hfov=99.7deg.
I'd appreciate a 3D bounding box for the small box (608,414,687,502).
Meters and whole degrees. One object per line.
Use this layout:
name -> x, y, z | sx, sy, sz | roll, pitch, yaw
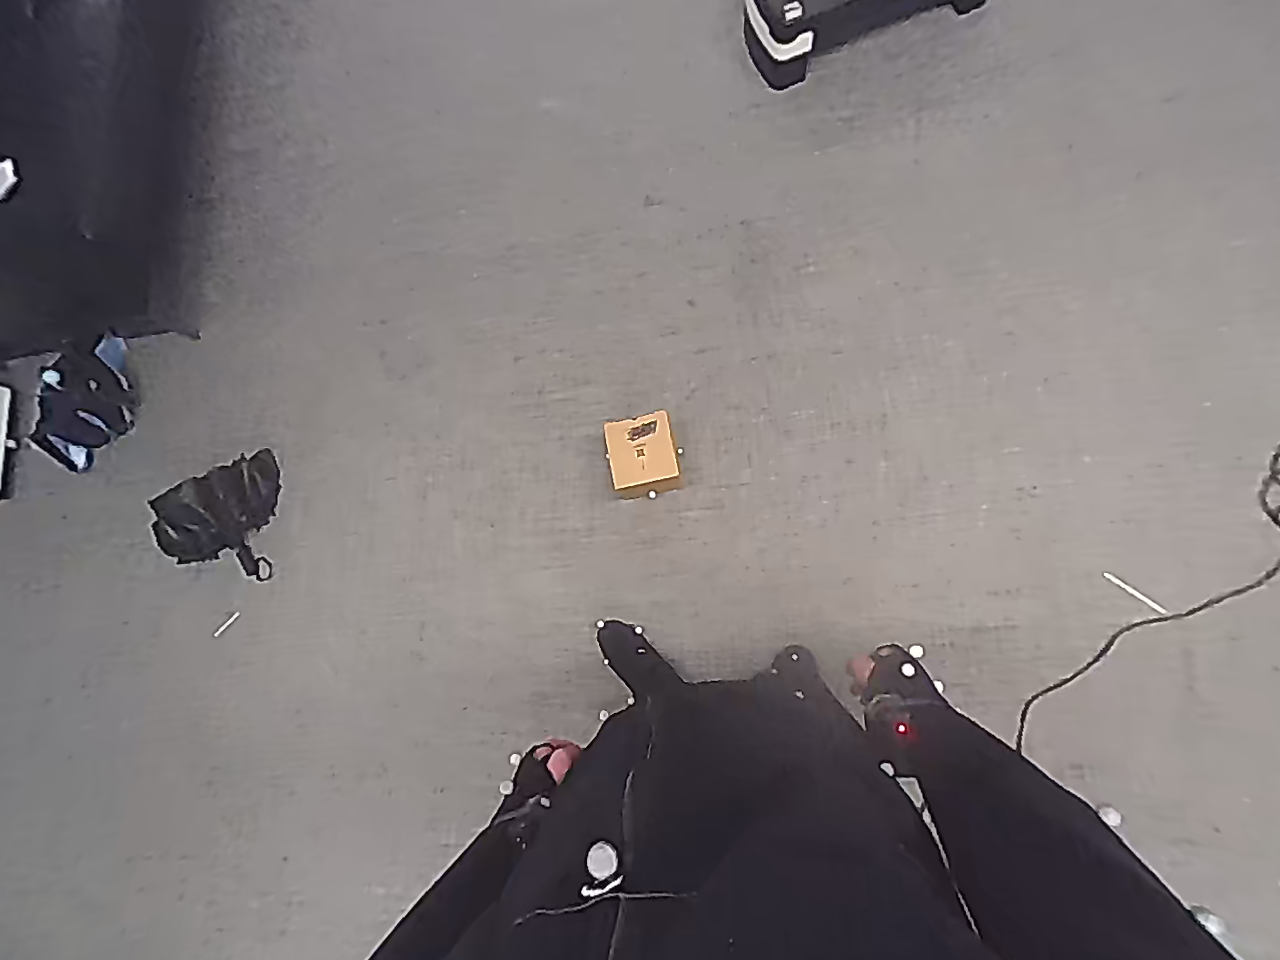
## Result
small box -> 0.025, -0.053, 1.421 | 0.168, 0.176, 0.179 | -12, 77, 8
